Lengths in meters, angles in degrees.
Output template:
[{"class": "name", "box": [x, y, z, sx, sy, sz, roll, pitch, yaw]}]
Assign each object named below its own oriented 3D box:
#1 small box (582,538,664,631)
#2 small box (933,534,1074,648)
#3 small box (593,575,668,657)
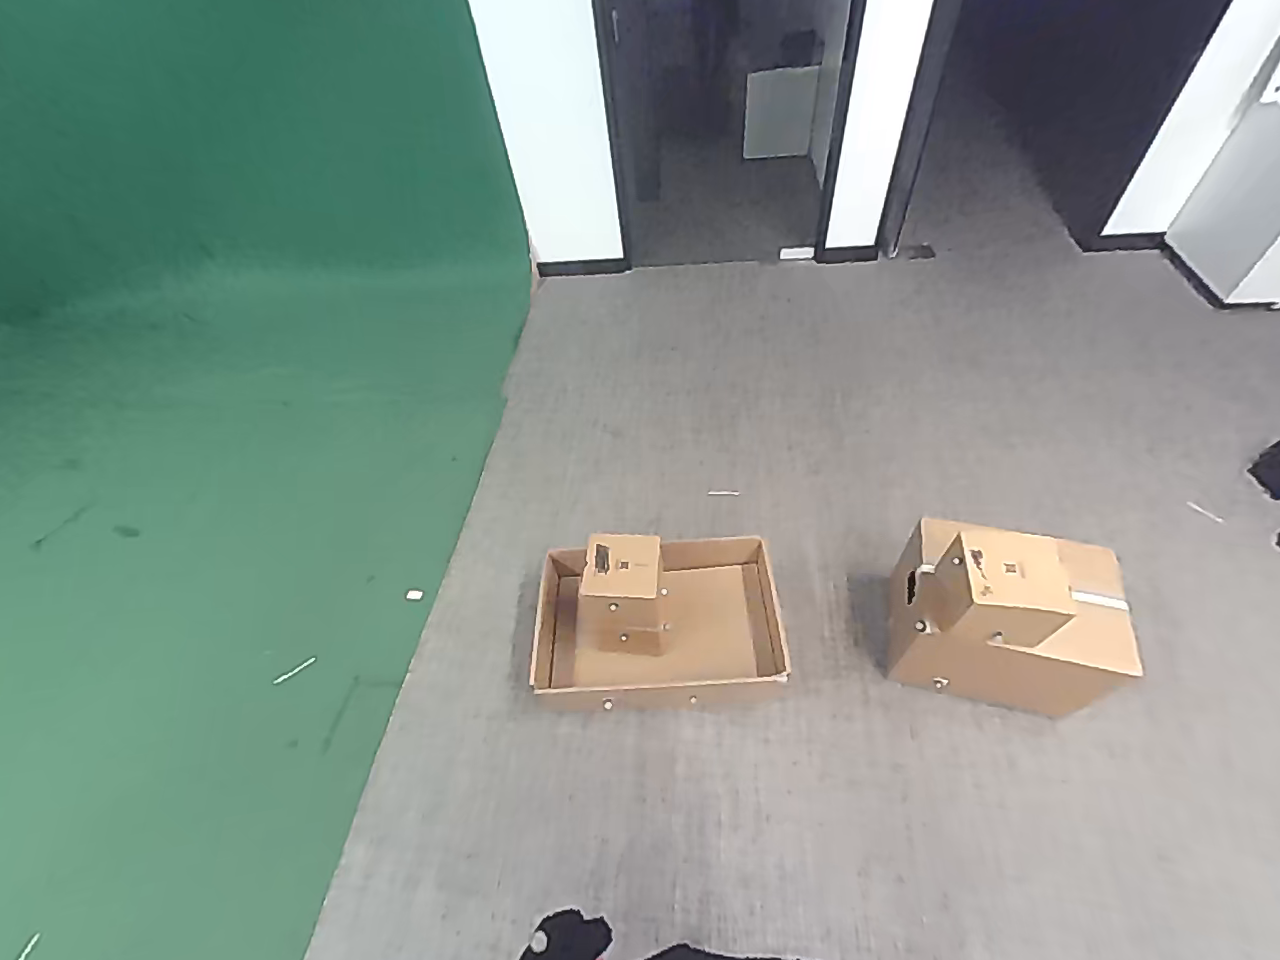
[{"class": "small box", "box": [-0.034, 0.257, 1.321, 0.179, 0.176, 0.168, 2, 51, 6]}, {"class": "small box", "box": [0.733, 0.232, 1.113, 0.179, 0.176, 0.168, 5, 53, 11]}, {"class": "small box", "box": [-0.019, 0.362, 1.446, 0.179, 0.176, 0.168, 2, 51, 6]}]
